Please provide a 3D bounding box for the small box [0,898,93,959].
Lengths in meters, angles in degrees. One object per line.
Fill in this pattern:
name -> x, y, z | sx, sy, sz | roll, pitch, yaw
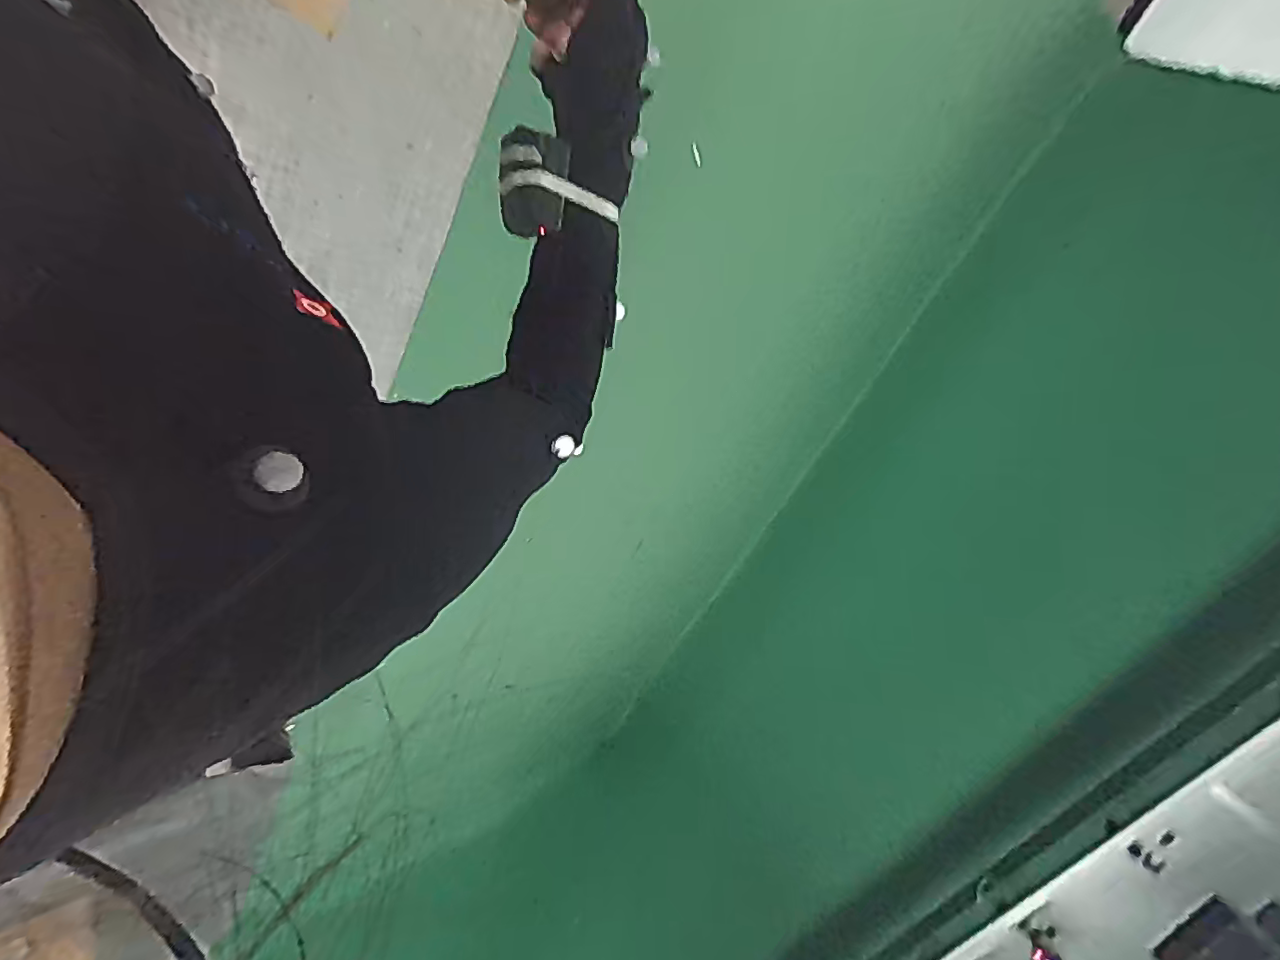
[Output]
small box -> -1.119, 0.922, 0.987 | 0.168, 0.176, 0.179 | -4, 129, -48
